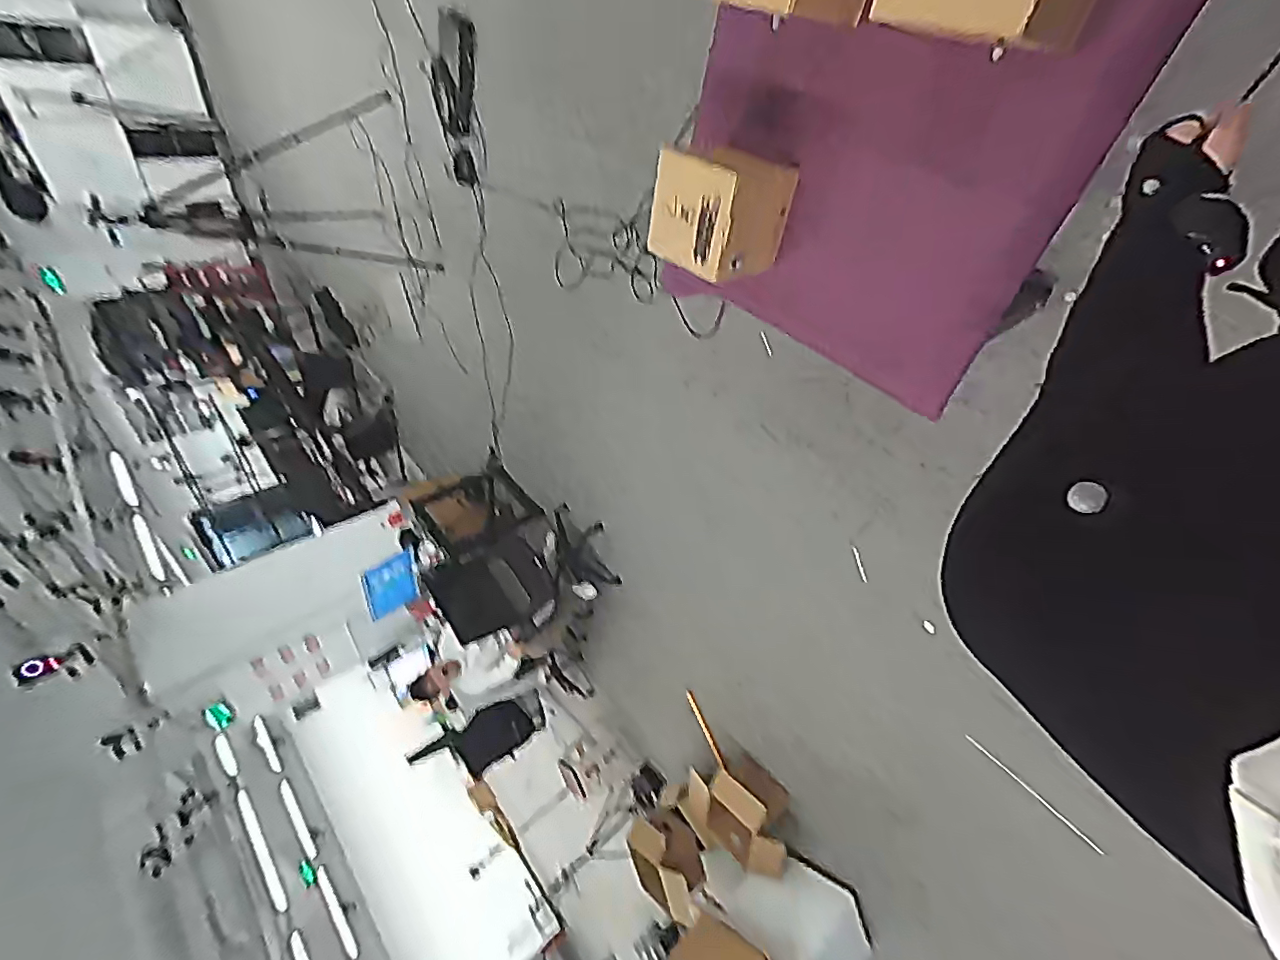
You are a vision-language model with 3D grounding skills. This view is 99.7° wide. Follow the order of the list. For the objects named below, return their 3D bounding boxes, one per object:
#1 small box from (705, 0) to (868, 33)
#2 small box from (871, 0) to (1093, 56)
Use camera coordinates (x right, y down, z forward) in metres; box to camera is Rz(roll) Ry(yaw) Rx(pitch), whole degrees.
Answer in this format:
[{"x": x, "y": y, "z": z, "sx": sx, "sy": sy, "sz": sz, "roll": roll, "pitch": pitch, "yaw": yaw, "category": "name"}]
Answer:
[{"x": 0.211, "y": -0.723, "z": 0.723, "sx": 0.179, "sy": 0.176, "sz": 0.168, "roll": 41, "pitch": 139, "yaw": 28, "category": "small box"}, {"x": 0.395, "y": -0.571, "z": 0.577, "sx": 0.179, "sy": 0.176, "sz": 0.168, "roll": 41, "pitch": 139, "yaw": 32, "category": "small box"}]
